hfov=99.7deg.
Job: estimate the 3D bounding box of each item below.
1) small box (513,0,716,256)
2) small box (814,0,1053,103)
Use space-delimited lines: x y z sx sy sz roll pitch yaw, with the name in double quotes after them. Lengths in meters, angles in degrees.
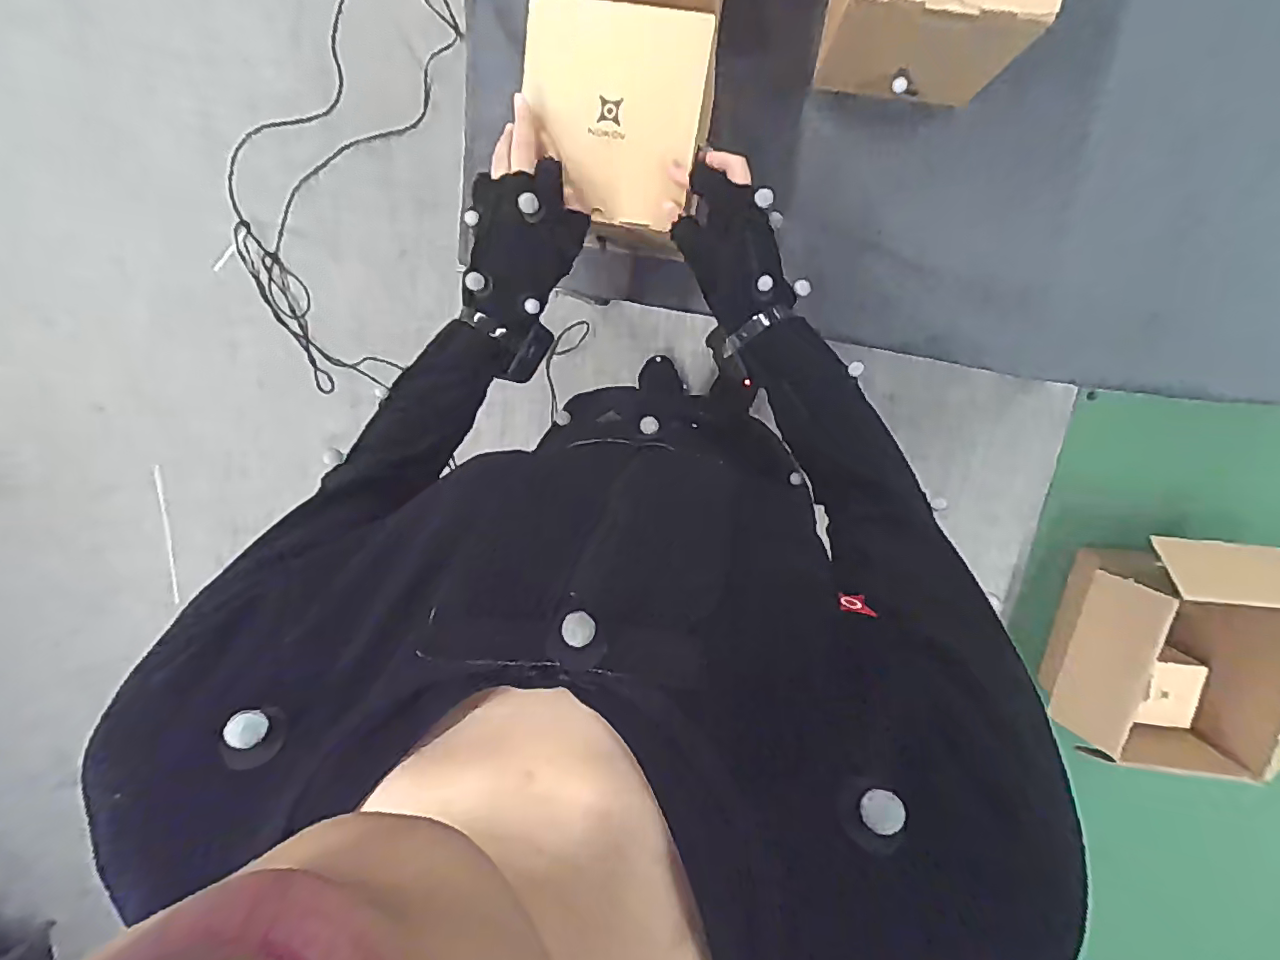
-0.021 -0.349 0.566 0.168 0.176 0.179 10 105 3 "small box"
0.274 -0.492 0.501 0.168 0.176 0.179 10 106 3 "small box"
